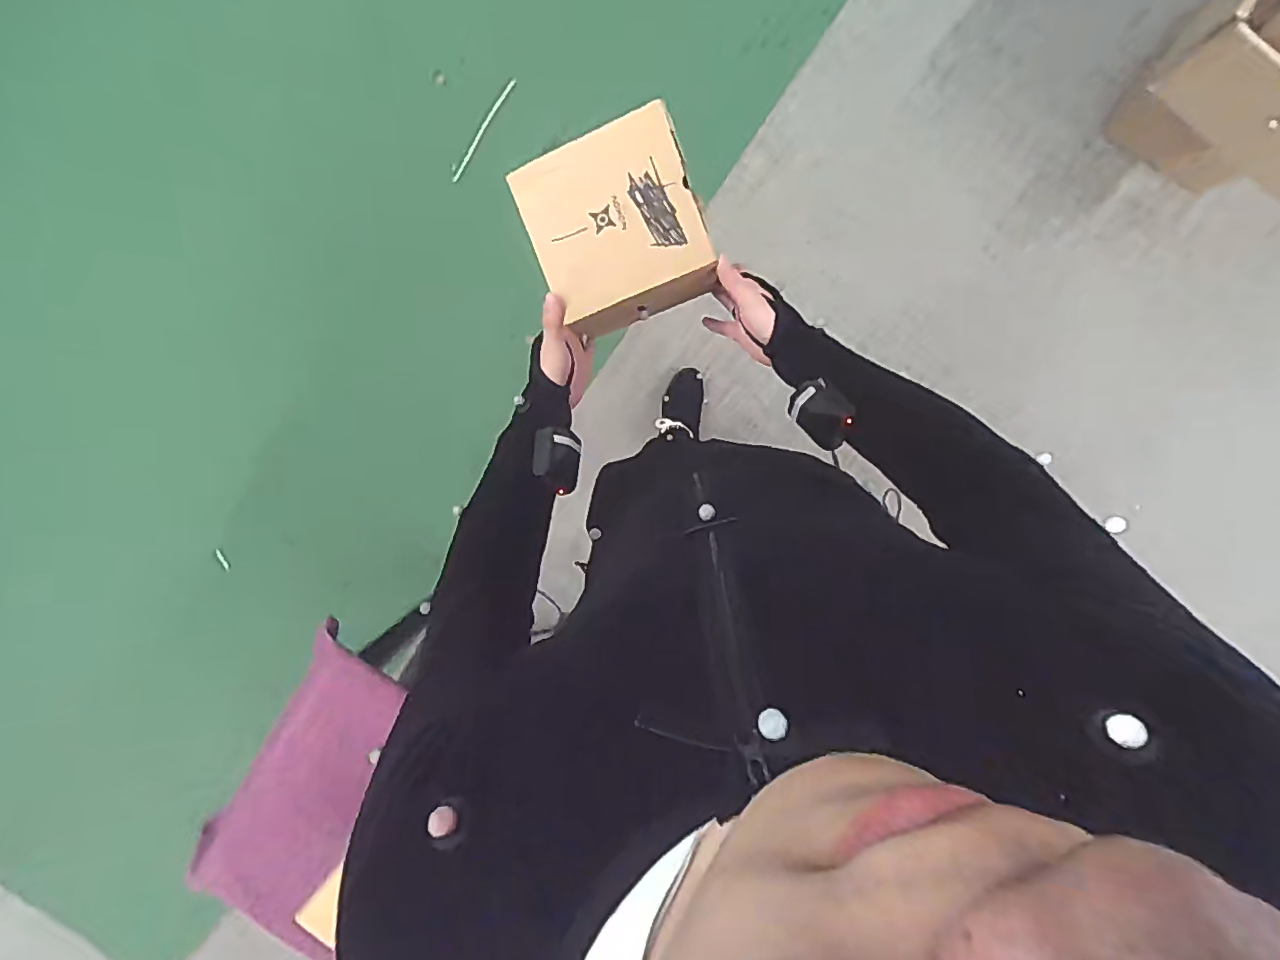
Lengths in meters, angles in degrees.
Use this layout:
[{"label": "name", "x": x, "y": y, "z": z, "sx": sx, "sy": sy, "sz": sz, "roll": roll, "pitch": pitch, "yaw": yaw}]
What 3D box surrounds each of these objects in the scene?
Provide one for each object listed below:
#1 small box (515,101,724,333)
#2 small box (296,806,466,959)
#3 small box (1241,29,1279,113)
[{"label": "small box", "x": -0.014, "y": -0.282, "z": 0.627, "sx": 0.179, "sy": 0.176, "sz": 0.168, "roll": -19, "pitch": 97, "yaw": 10}, {"label": "small box", "x": -0.450, "y": 0.729, "z": 0.965, "sx": 0.179, "sy": 0.176, "sz": 0.168, "roll": 39, "pitch": 99, "yaw": -3}, {"label": "small box", "x": 1.232, "y": -0.753, "z": 0.926, "sx": 0.179, "sy": 0.176, "sz": 0.168, "roll": 37, "pitch": 98, "yaw": -1}]
